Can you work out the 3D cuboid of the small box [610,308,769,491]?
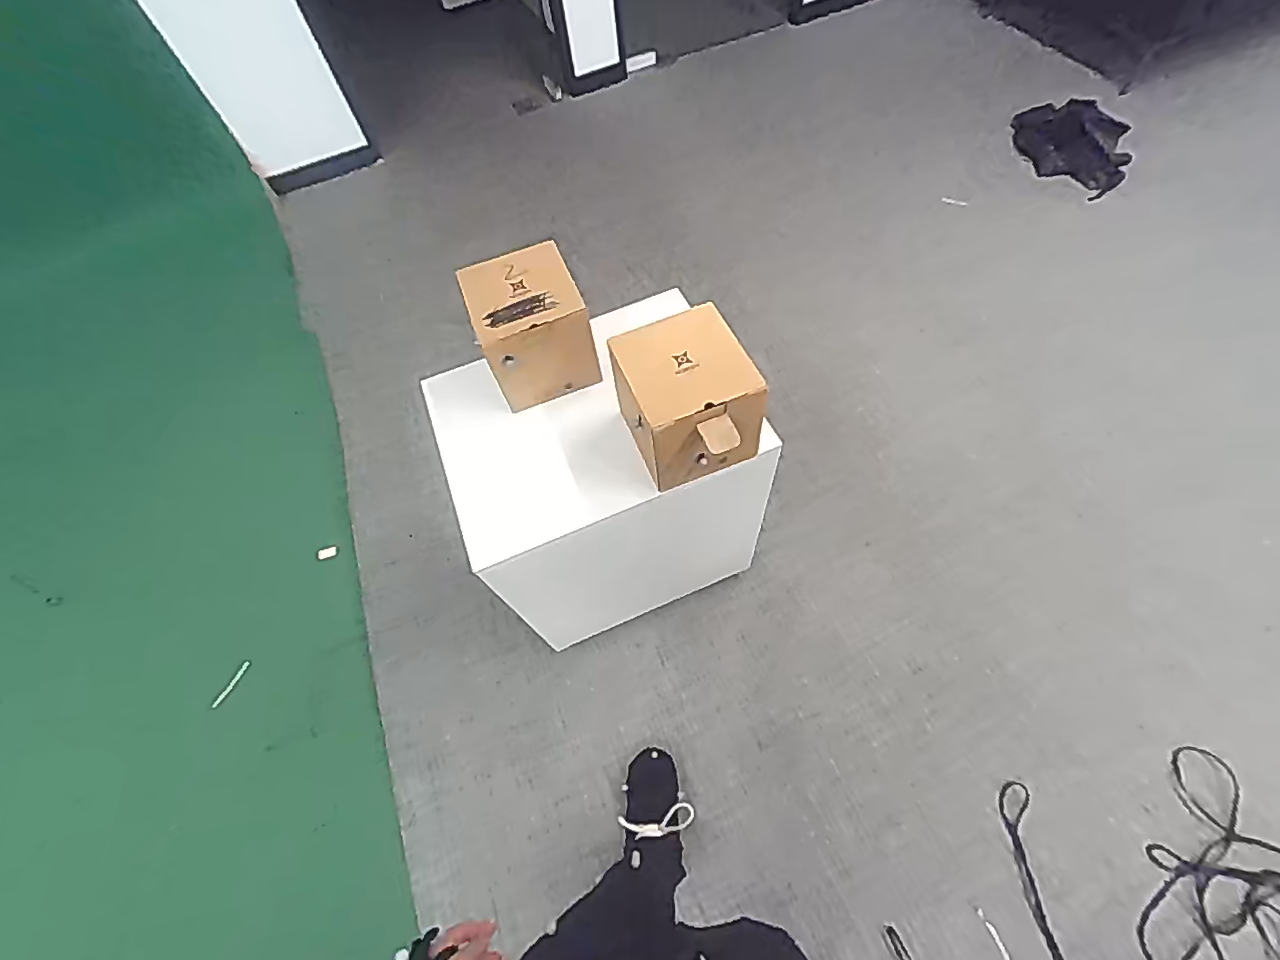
[{"bbox_3d":[0.067,-0.114,0.797,0.168,0.176,0.179,-21,60,-7],"label":"small box"}]
